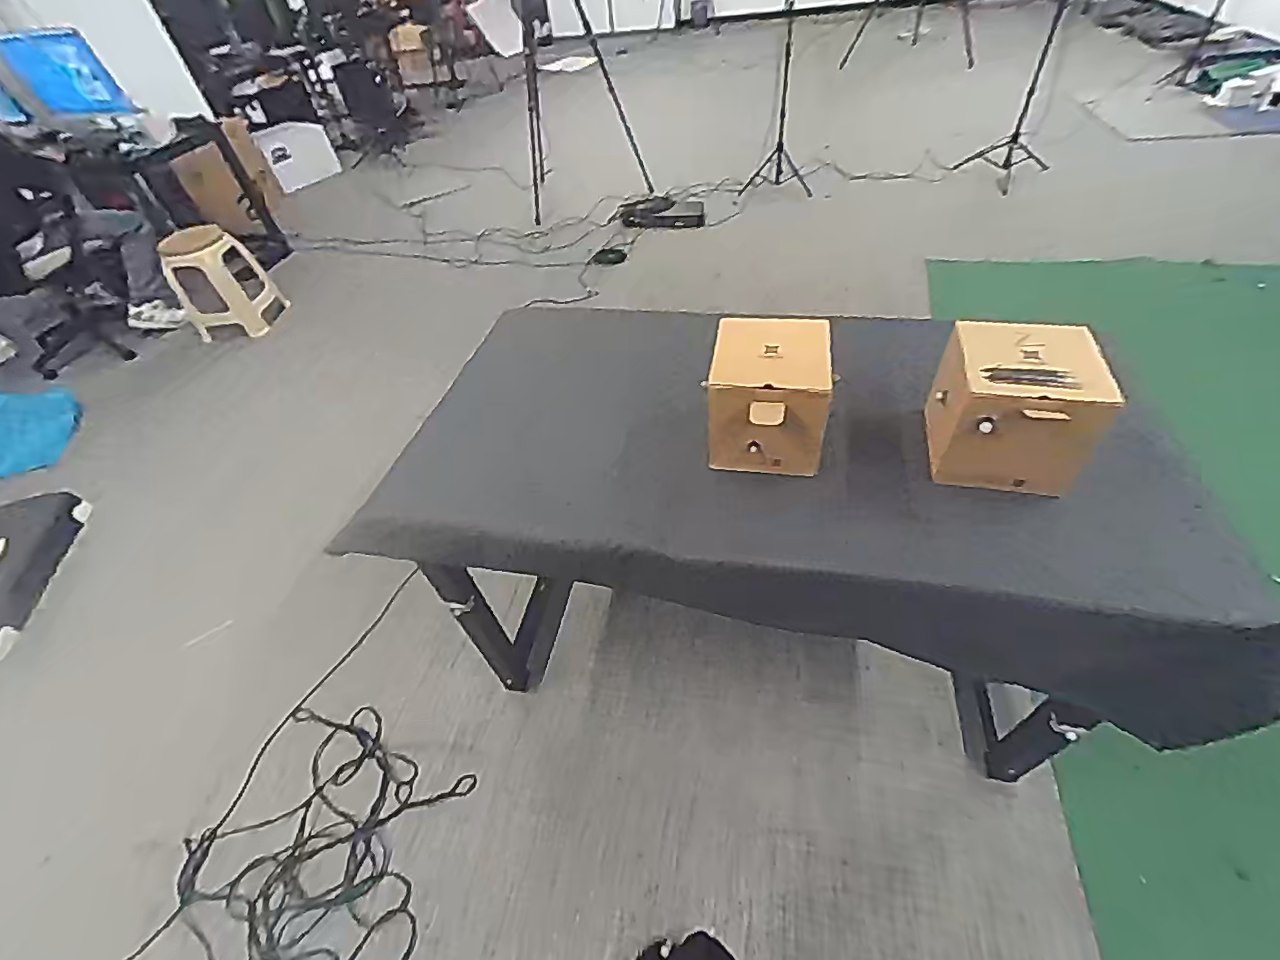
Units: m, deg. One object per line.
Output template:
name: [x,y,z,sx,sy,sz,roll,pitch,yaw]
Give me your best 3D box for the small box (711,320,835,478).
small box: [0.202,-0.128,0.841,0.168,0.176,0.179,5,48,12]
